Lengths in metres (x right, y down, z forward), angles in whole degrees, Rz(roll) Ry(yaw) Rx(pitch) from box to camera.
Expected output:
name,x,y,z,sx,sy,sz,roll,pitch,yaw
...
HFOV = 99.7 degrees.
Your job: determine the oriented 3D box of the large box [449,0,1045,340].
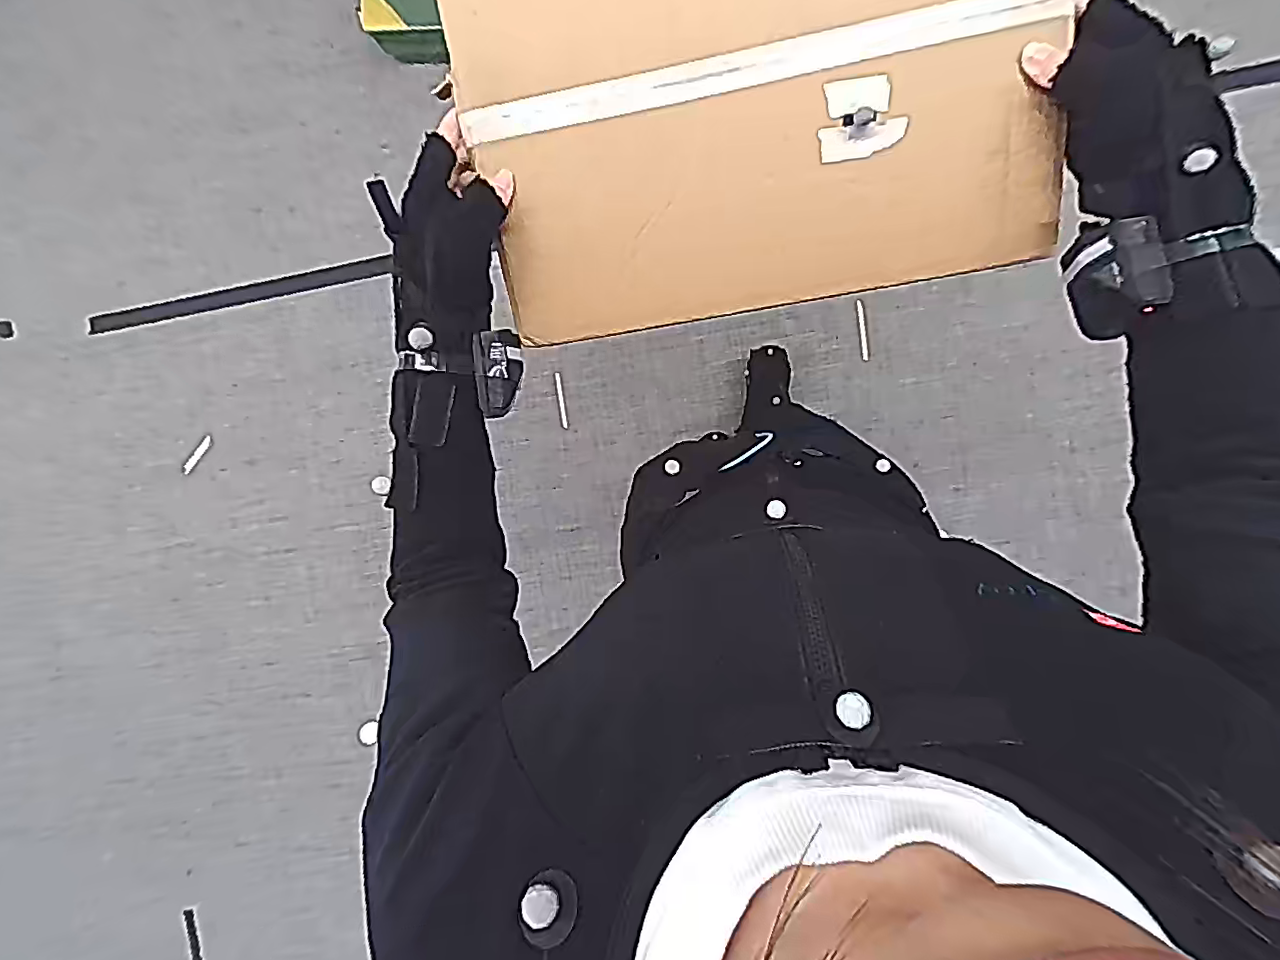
name,x,y,z,sx,sy,sz,roll,pitch,yaw
large box,0.081,-0.338,0.521,0.408,0.320,0.320,-9,110,5
